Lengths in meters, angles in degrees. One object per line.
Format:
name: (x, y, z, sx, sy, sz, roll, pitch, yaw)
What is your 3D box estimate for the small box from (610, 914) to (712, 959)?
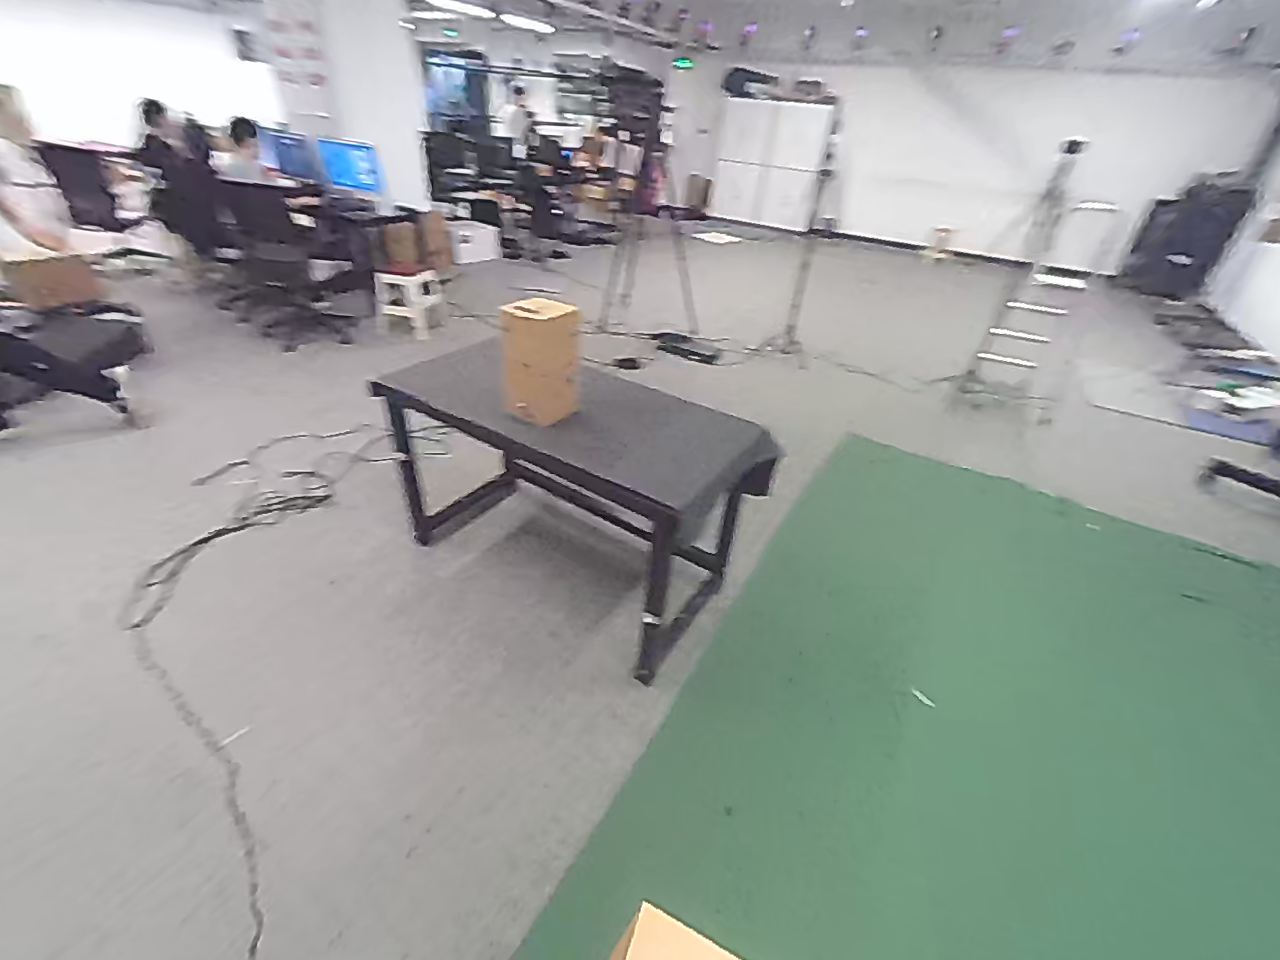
small box: (0.014, 0.443, 0.334, 0.168, 0.176, 0.179, 25, 21, 8)

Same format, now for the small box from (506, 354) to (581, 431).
small box: (-0.305, -0.278, 1.711, 0.168, 0.176, 0.179, 22, 37, 24)
